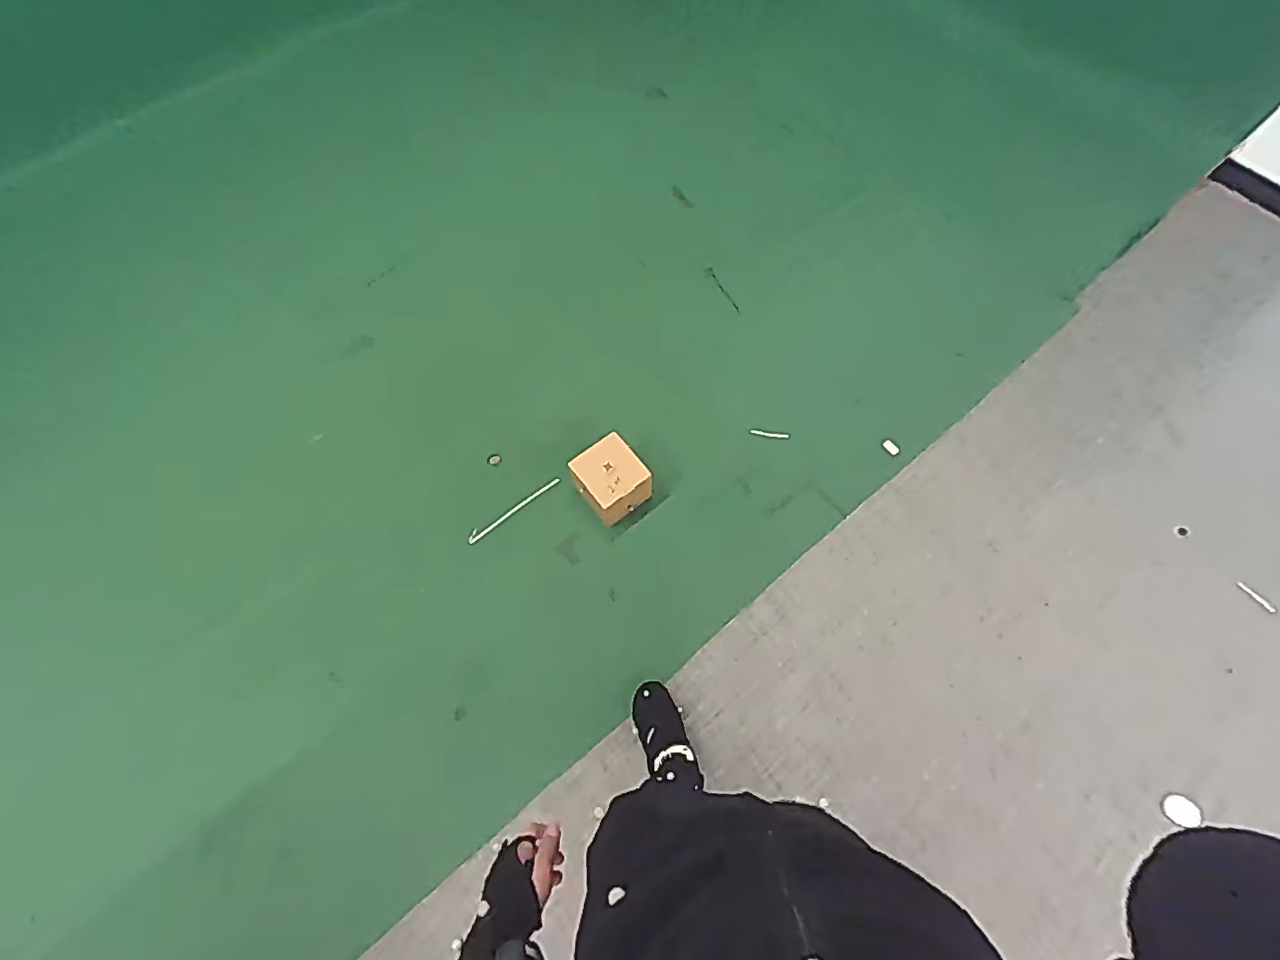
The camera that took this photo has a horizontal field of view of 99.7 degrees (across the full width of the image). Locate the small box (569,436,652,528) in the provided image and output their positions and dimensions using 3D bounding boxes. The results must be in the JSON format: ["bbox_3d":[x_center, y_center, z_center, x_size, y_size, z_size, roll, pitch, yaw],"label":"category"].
[{"bbox_3d":[-0.083,0.011,1.557,0.168,0.176,0.179,-36,72,-14],"label":"small box"}]
